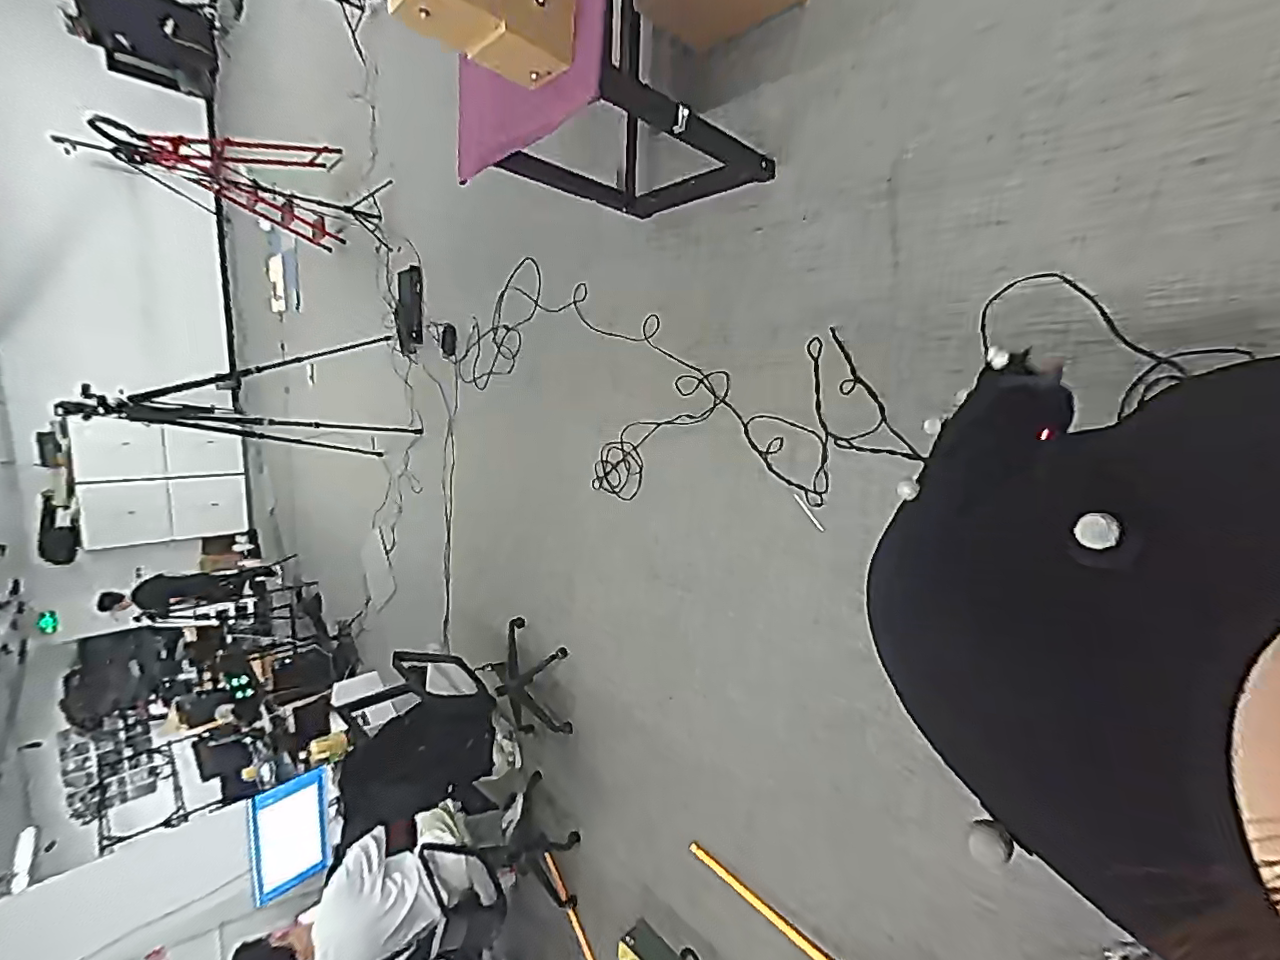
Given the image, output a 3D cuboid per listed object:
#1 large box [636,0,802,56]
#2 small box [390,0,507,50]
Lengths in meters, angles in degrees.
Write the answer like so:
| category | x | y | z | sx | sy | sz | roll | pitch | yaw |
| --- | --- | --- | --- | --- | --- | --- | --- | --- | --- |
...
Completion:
| category | x | y | z | sx | sy | sz | roll | pitch | yaw |
| --- | --- | --- | --- | --- | --- | --- | --- | --- | --- |
| large box | 0.238 | -1.531 | 1.551 | 0.408 | 0.320 | 0.320 | 10 | 103 | 44 |
| small box | -0.375 | -0.991 | 1.056 | 0.179 | 0.176 | 0.168 | 14 | 106 | 44 |
